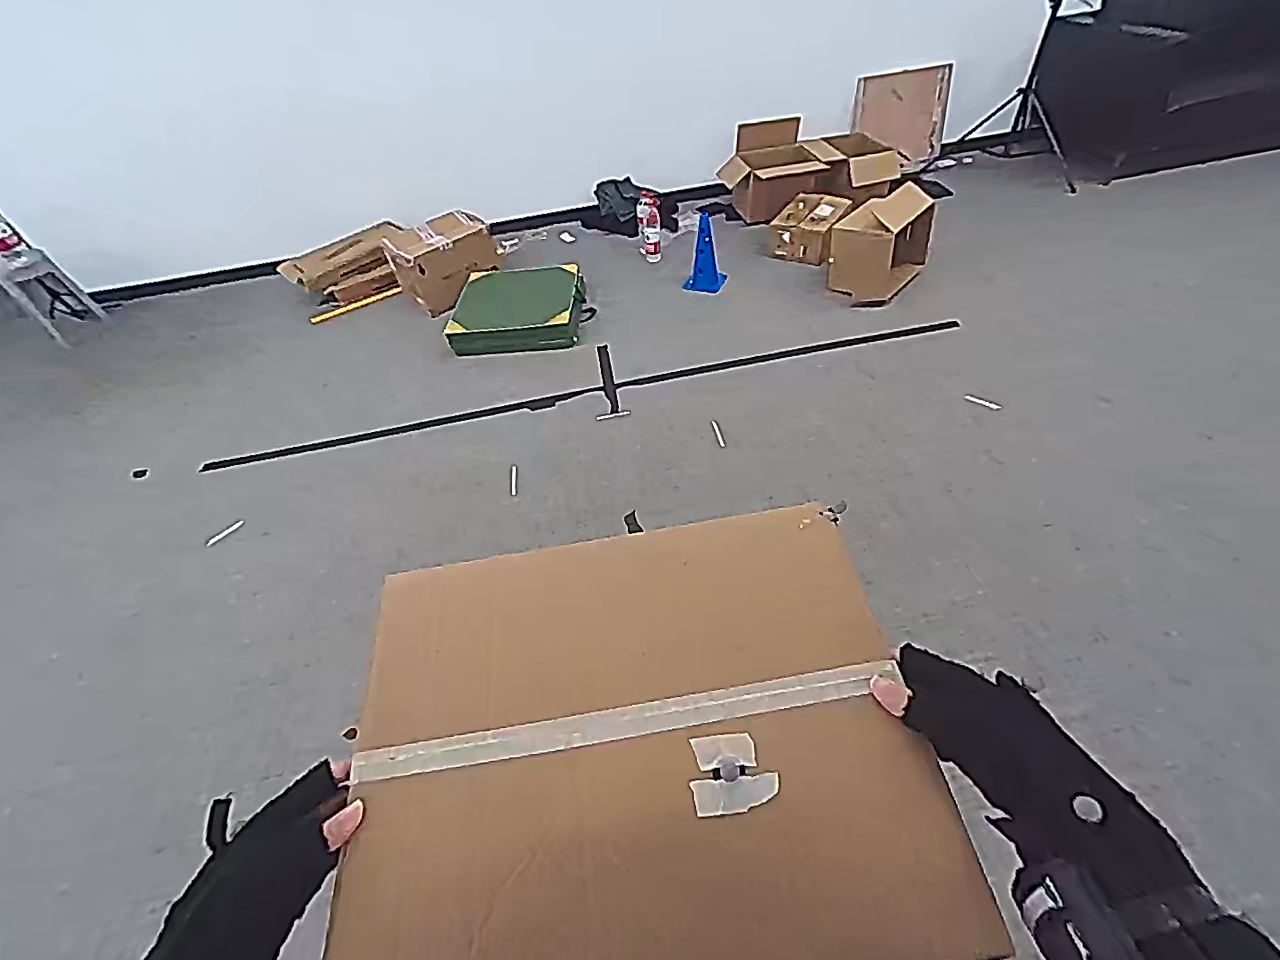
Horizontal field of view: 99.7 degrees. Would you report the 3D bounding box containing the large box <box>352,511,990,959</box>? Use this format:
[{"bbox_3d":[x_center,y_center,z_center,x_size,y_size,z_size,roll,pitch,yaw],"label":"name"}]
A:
[{"bbox_3d":[0.009,0.272,0.528,0.408,0.320,0.320,-10,54,-1],"label":"large box"}]
